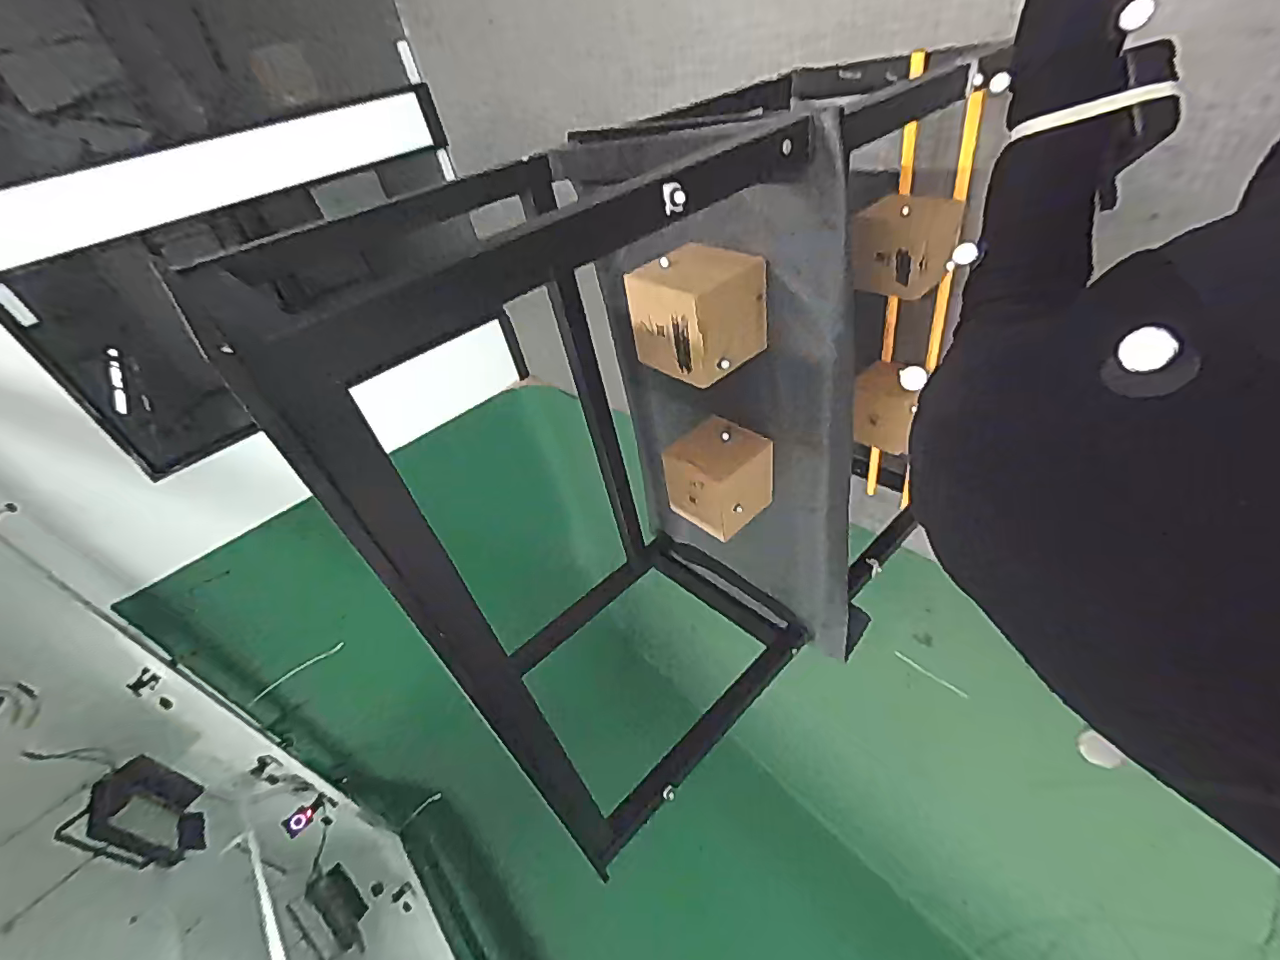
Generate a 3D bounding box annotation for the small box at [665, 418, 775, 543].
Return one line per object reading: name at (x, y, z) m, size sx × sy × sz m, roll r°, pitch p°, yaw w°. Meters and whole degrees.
small box at (0.177, -0.004, 1.176) m, size 0.168 × 0.176 × 0.179 m, roll 31°, pitch 146°, yaw 38°

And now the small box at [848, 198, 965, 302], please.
small box at (0.610, -0.534, 1.242) m, size 0.179 × 0.176 × 0.168 m, roll 31°, pitch 146°, yaw 38°
